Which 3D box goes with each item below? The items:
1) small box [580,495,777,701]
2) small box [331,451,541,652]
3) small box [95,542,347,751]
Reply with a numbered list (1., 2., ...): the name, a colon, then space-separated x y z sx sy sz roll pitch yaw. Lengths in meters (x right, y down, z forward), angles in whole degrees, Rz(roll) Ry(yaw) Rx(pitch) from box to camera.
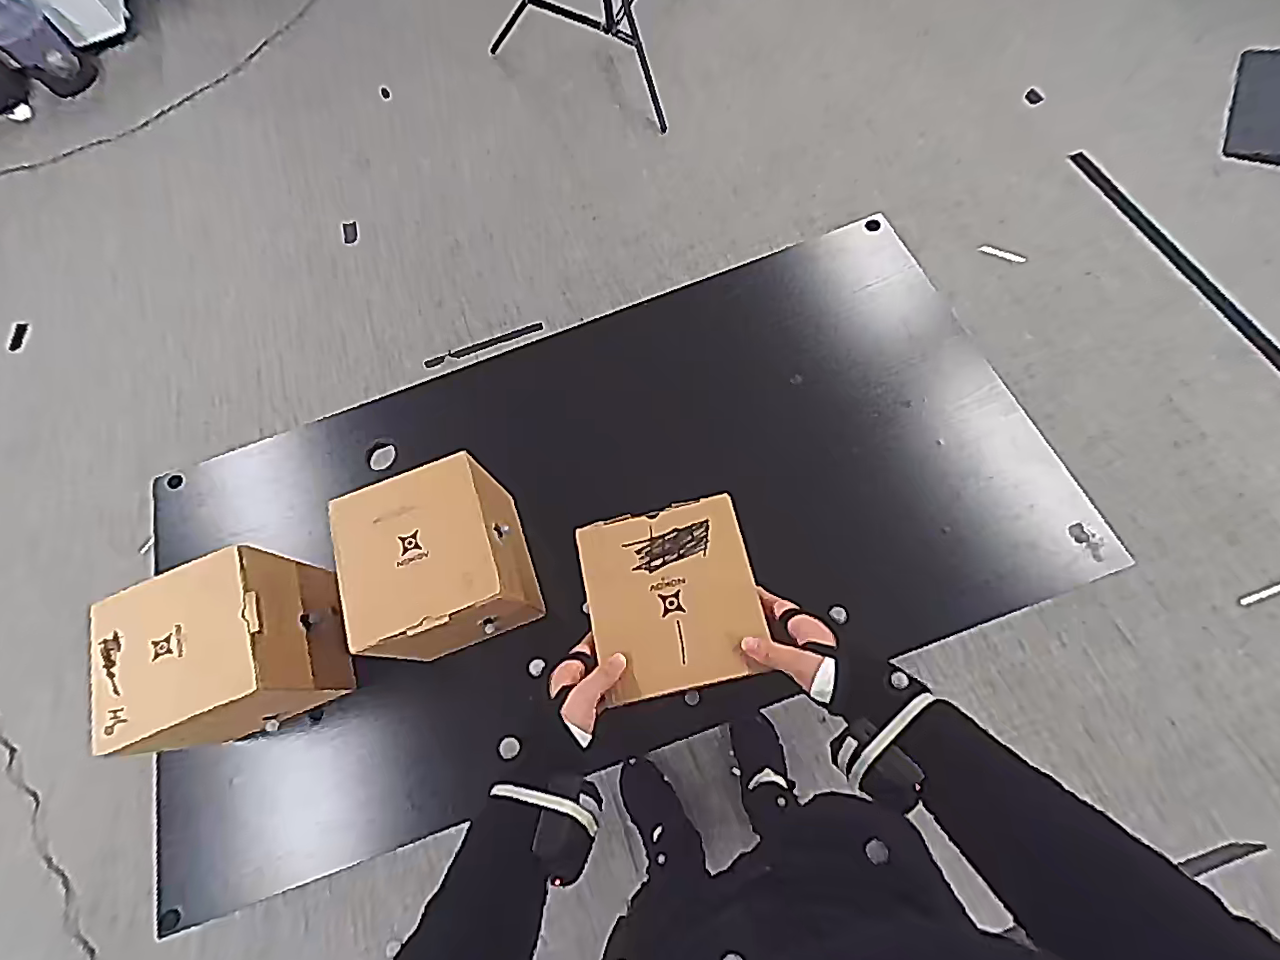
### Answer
1. small box: 0.039 0.138 0.602 0.168 0.176 0.179 -13 69 2
2. small box: -0.234 0.097 0.652 0.168 0.176 0.179 -21 68 -3
3. small box: -0.476 0.195 0.640 0.179 0.176 0.168 -22 68 -3
